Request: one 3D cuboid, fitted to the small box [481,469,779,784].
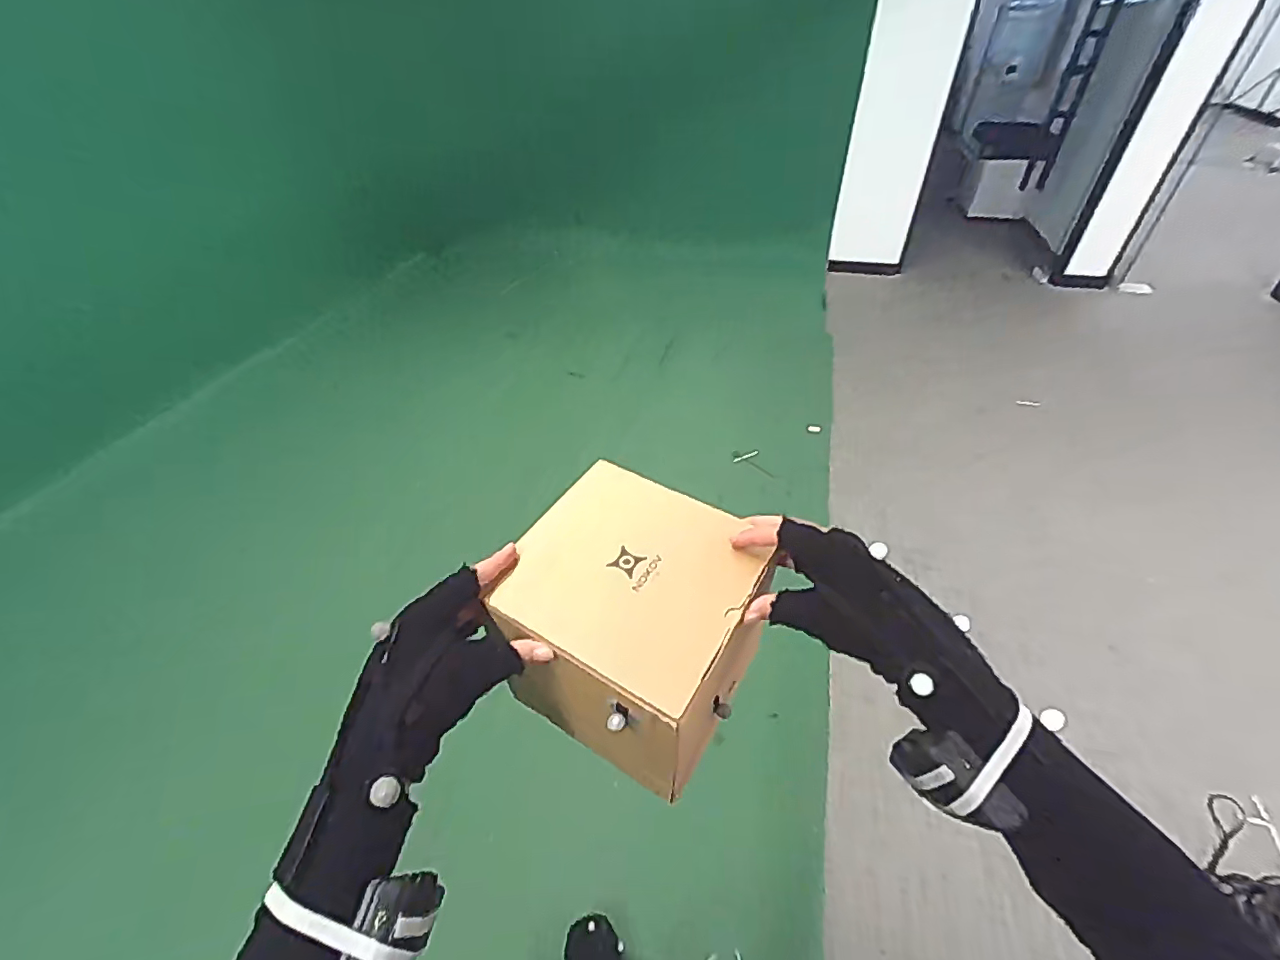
[{"bbox_3d":[-0.005,0.125,0.470,0.179,0.176,0.168,24,50,23],"label":"small box"}]
